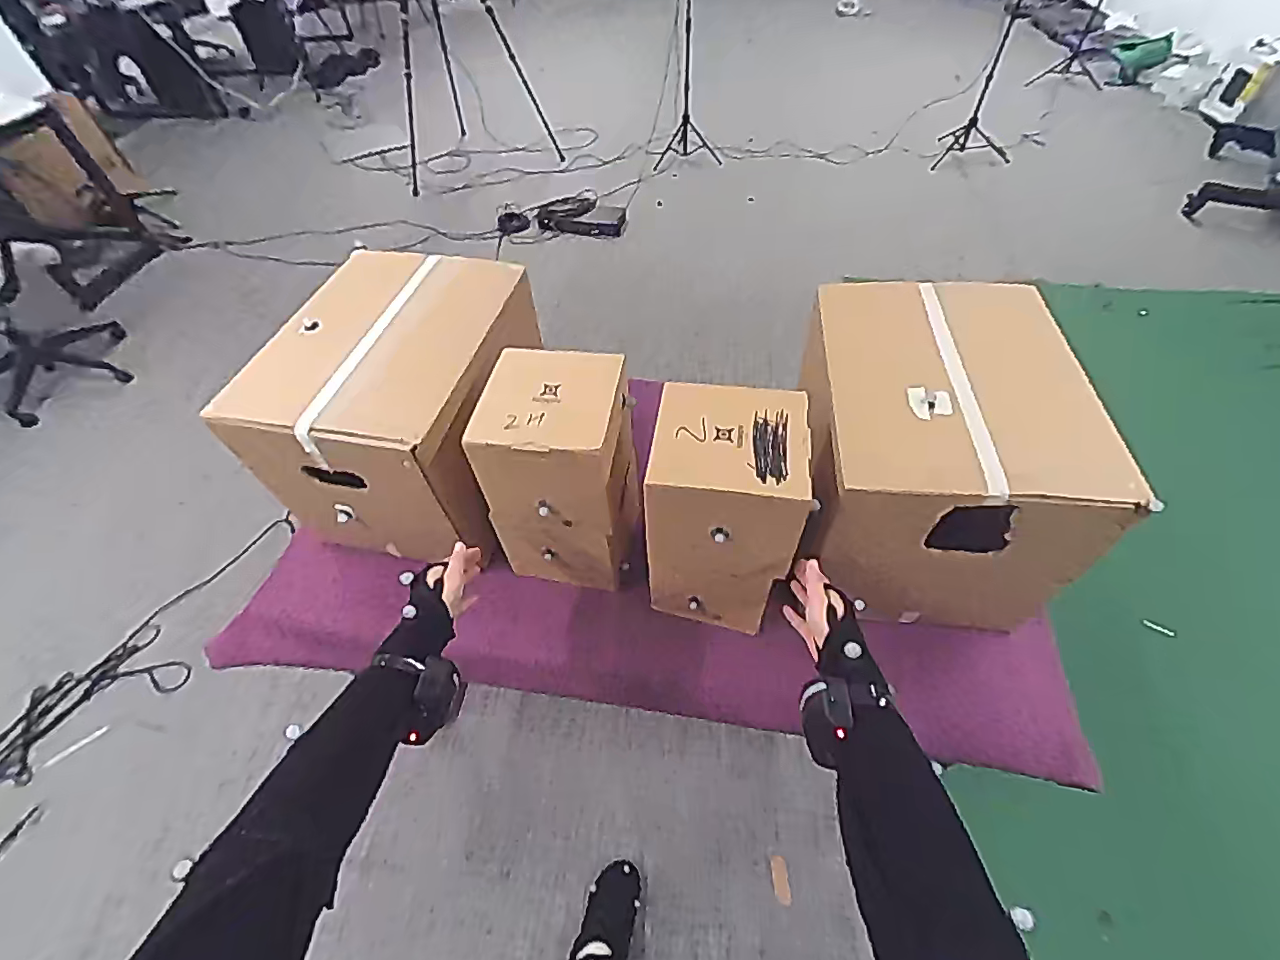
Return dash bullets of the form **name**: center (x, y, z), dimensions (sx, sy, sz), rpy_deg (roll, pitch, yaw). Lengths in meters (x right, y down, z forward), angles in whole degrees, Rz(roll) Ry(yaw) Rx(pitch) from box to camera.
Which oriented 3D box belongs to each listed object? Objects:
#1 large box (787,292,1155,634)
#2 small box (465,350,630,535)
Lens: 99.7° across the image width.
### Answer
- **large box**: center (0.409, -0.031, 0.808), dimensions (0.320, 0.320, 0.408), rpy_deg (3, 52, 8)
- **small box**: center (-0.107, -0.050, 0.724), dimensions (0.168, 0.176, 0.179), rpy_deg (5, 51, 7)
